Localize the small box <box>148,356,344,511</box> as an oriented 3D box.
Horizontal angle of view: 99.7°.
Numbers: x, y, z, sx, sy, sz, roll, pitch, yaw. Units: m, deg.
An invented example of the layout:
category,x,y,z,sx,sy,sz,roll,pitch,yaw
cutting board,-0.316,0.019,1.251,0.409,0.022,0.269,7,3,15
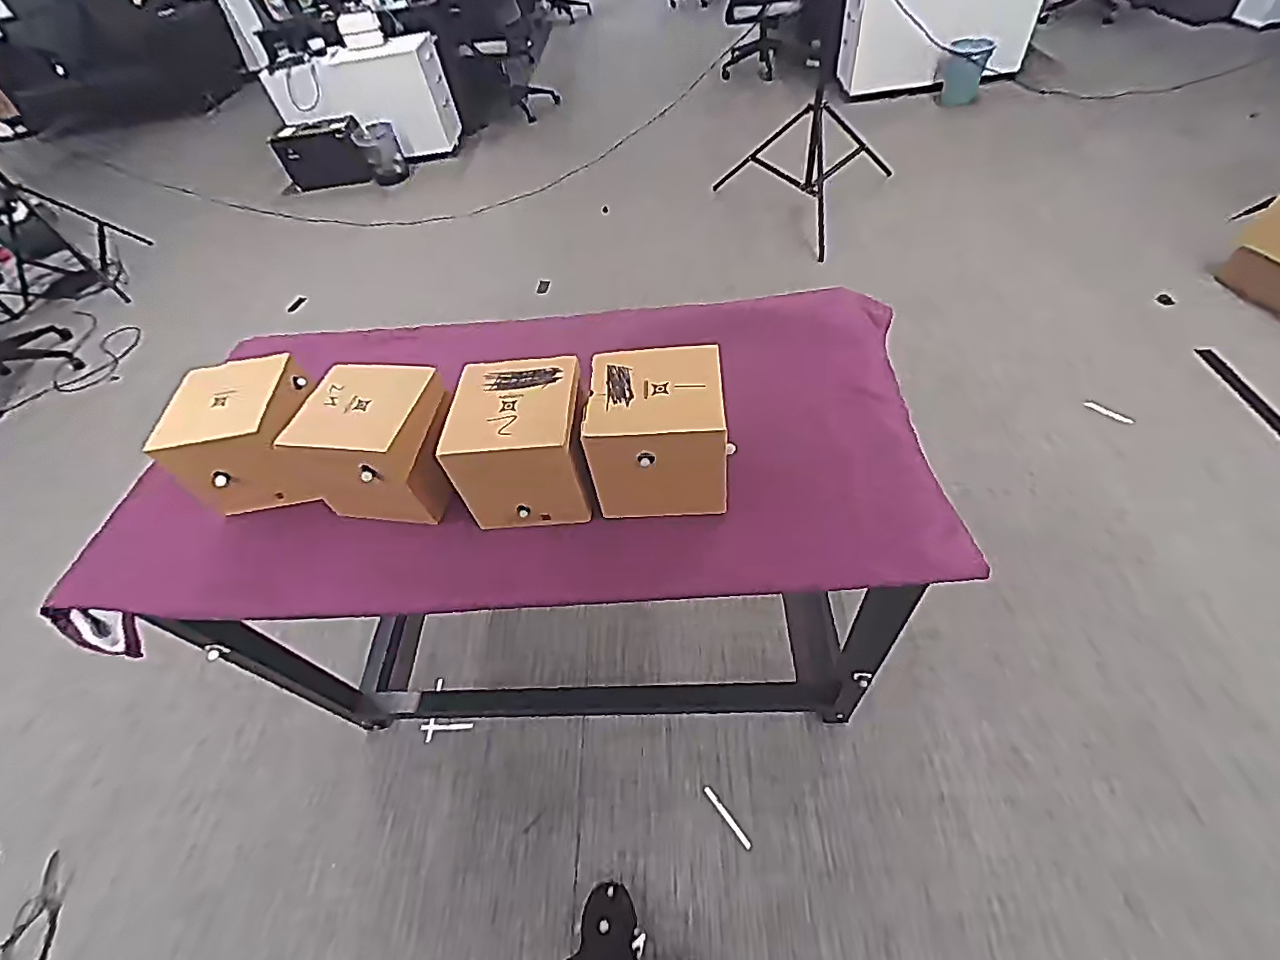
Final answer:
category,x,y,z,sx,sy,sz,roll,pitch,yaw
small box,-0.607,-0.066,0.865,0.168,0.176,0.179,-11,51,1
